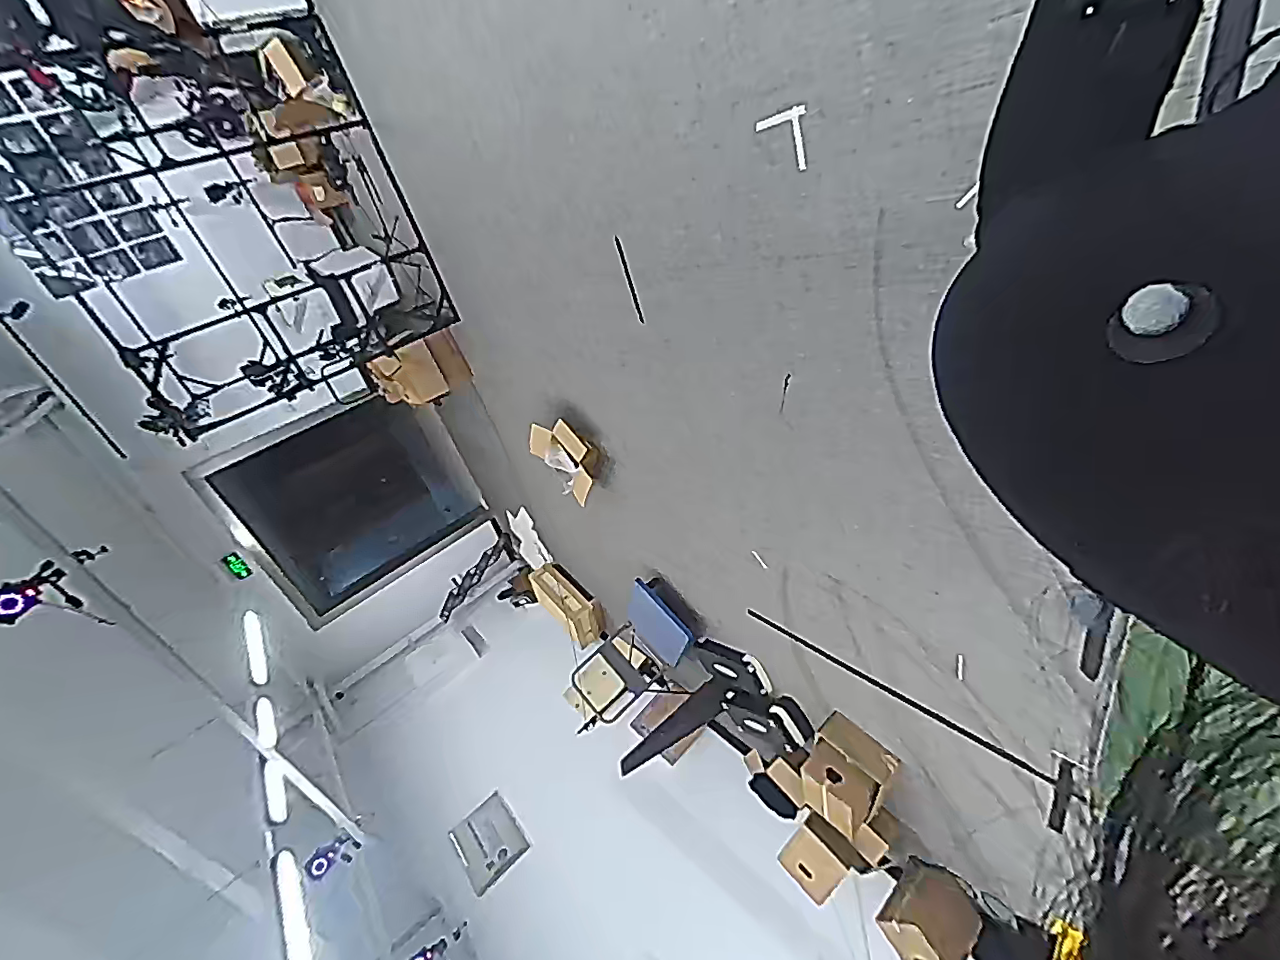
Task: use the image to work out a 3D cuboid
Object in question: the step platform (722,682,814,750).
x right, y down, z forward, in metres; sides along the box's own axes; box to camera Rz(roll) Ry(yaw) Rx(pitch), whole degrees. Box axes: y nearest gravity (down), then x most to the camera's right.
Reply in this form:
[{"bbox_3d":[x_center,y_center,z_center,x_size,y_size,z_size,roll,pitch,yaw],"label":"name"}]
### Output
[{"bbox_3d":[0.844,1.597,3.681,0.286,0.204,0.684,57,154,-4],"label":"step platform"}]
